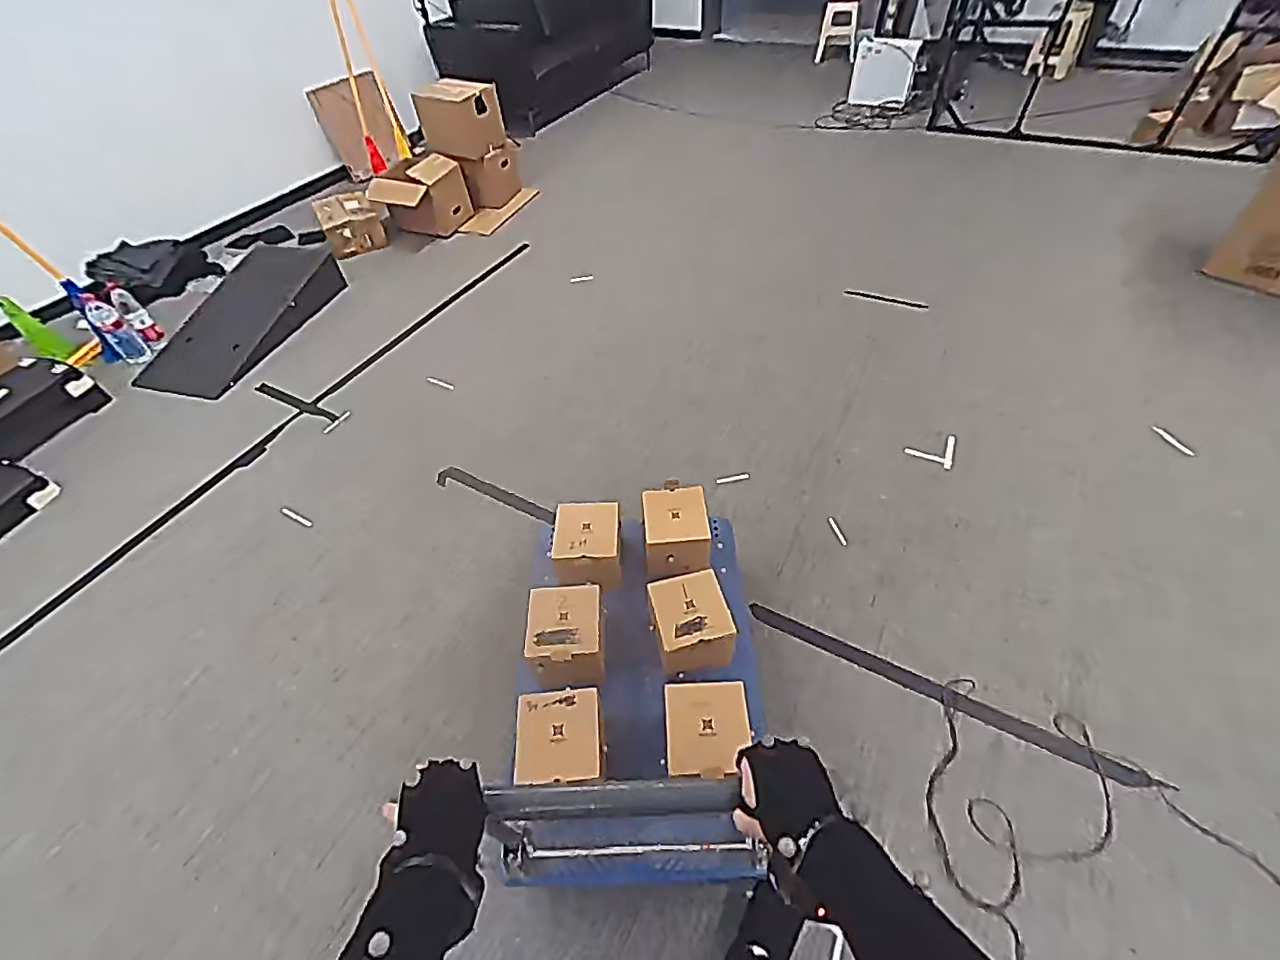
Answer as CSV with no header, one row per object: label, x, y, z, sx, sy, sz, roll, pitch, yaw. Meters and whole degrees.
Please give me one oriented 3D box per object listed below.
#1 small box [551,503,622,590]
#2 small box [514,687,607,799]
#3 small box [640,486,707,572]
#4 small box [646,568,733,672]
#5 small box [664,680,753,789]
small box,-0.139,0.180,1.461,0.168,0.176,0.179,-2,50,2
small box,-0.160,0.557,1.135,0.168,0.176,0.179,-5,49,-2
small box,0.091,0.141,1.484,0.168,0.176,0.179,-5,49,-1
small box,0.116,0.345,1.304,0.168,0.176,0.179,-12,49,-7
small box,0.137,0.539,1.135,0.168,0.176,0.179,-2,48,1
